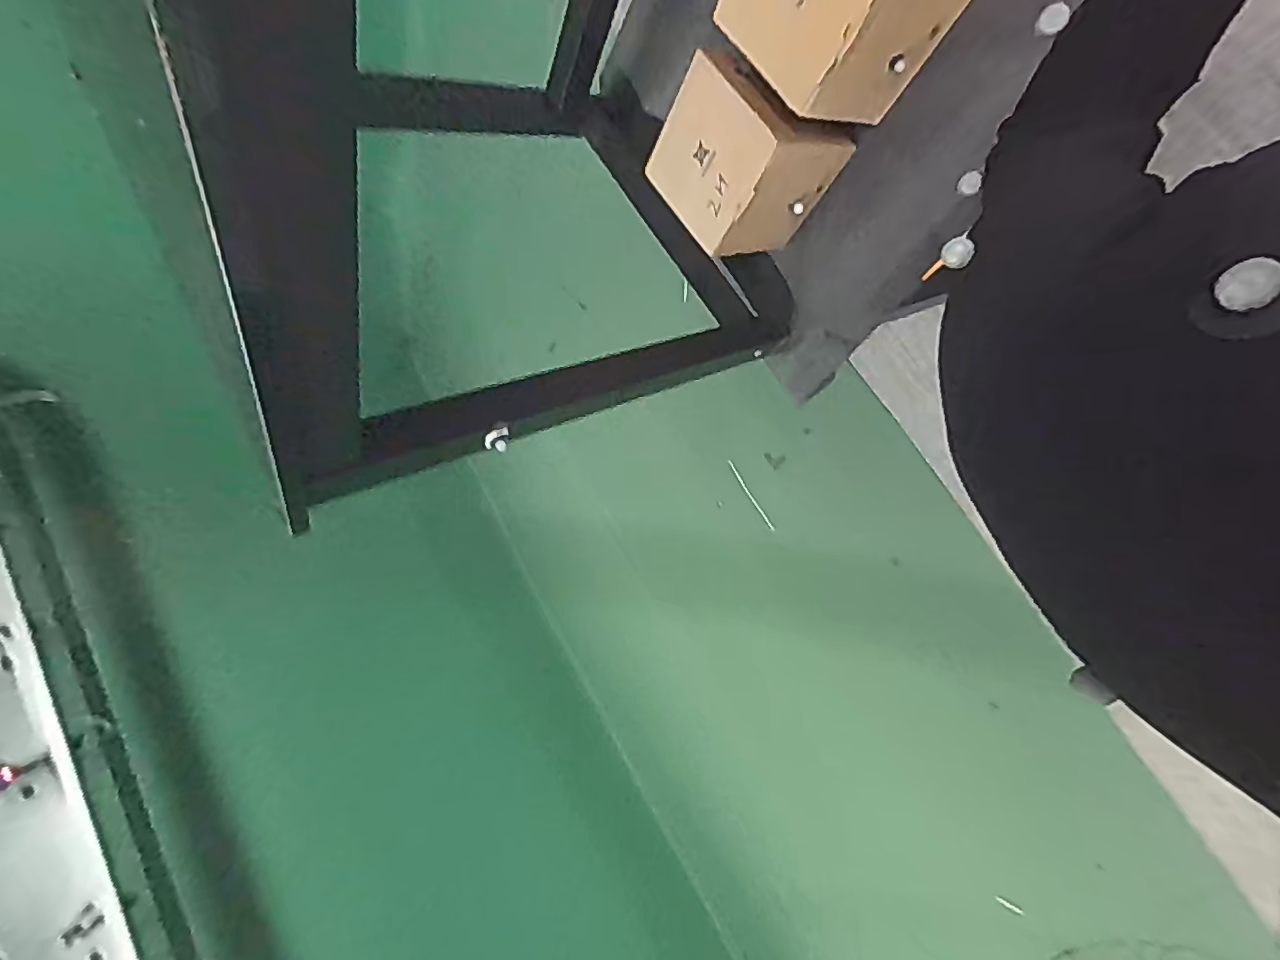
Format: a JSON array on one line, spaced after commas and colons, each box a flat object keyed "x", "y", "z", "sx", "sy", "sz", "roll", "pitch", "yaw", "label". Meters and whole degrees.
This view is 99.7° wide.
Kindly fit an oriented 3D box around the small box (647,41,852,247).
[{"x": 0.146, "y": -0.449, "z": 0.742, "sx": 0.179, "sy": 0.176, "sz": 0.168, "roll": 57, "pitch": 145, "yaw": 13, "label": "small box"}]
